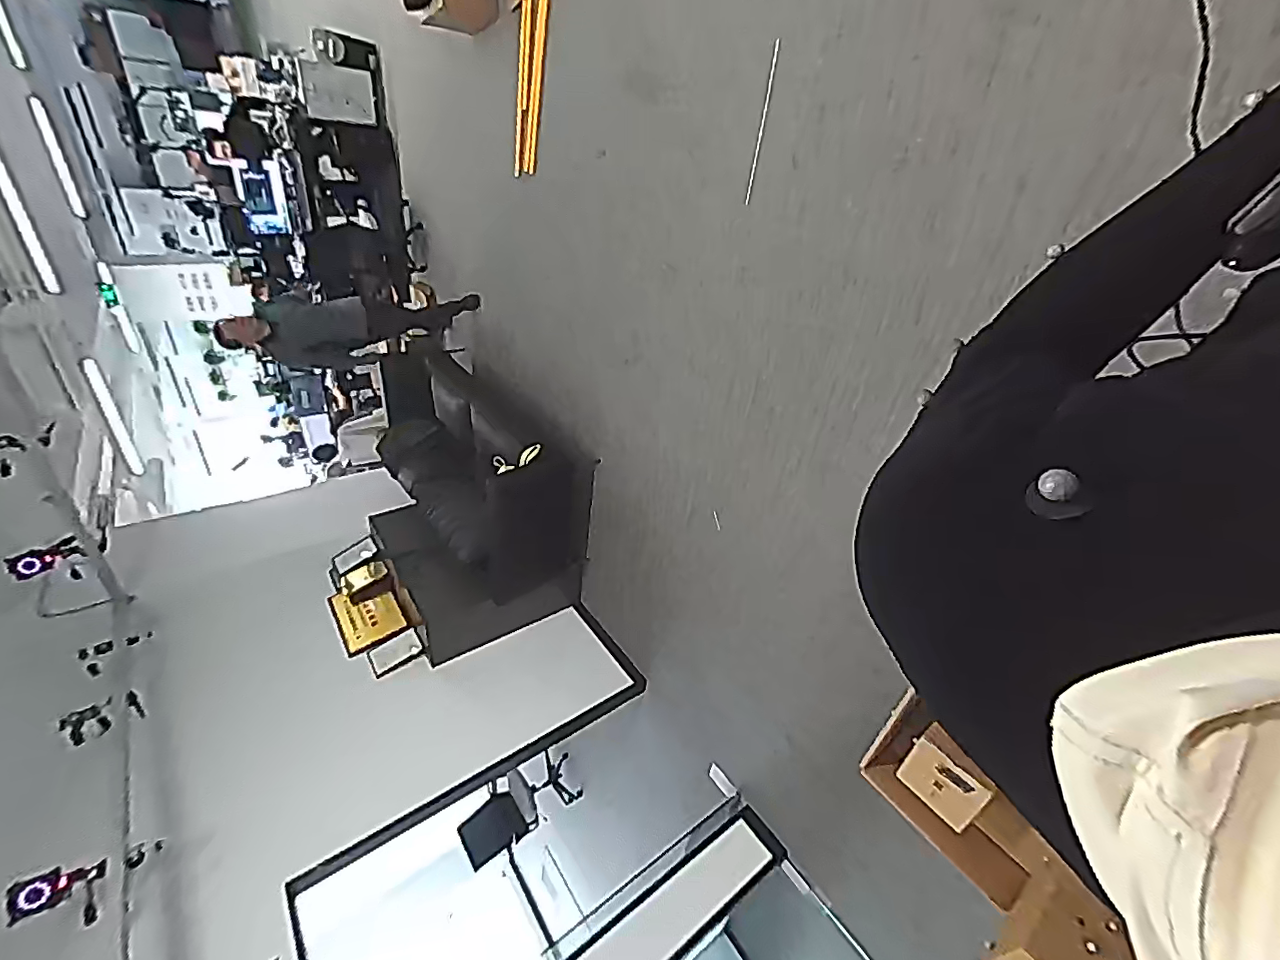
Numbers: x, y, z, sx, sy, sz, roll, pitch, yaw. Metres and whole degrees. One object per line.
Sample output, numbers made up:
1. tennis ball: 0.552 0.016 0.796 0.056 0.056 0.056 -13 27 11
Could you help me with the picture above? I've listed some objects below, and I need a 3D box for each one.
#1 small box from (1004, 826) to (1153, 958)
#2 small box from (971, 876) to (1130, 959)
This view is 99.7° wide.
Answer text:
1. small box: 0.935 0.894 1.155 0.168 0.176 0.179 42 136 37
2. small box: 0.806 0.936 1.063 0.168 0.176 0.179 43 136 35
